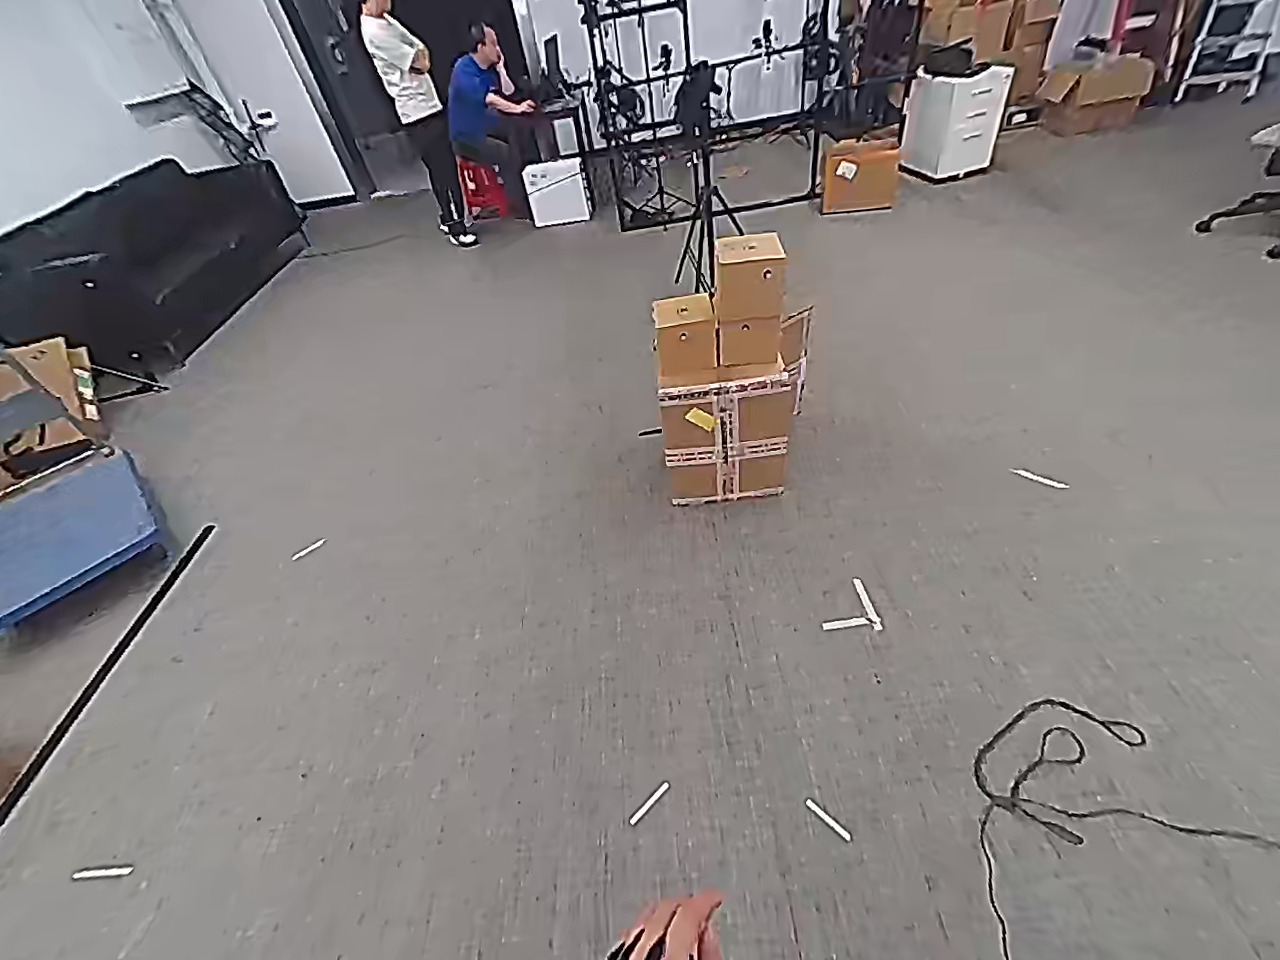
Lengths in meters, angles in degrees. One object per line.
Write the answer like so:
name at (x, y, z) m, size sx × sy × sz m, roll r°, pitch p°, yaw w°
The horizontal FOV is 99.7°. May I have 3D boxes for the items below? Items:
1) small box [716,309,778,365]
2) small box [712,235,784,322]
small box at (0.321, -0.466, 1.649) m, size 0.179 × 0.176 × 0.168 m, roll -2°, pitch 45°, yaw 7°
small box at (0.297, -0.564, 1.516) m, size 0.179 × 0.176 × 0.168 m, roll -5°, pitch 45°, yaw 5°
